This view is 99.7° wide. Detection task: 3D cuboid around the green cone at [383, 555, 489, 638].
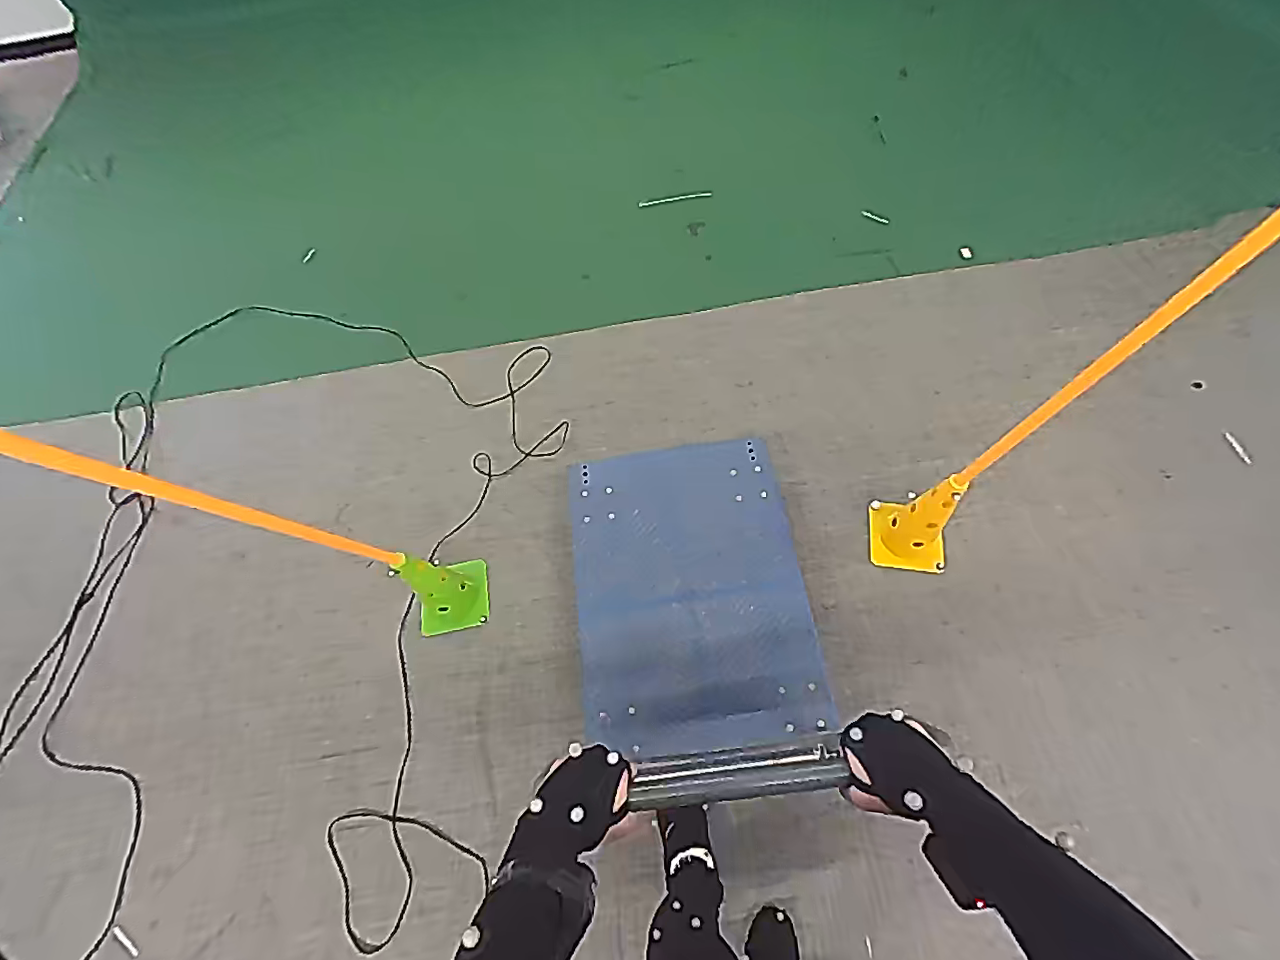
[{"bbox_3d":[-0.565,0.271,1.438,0.202,0.368,0.200,-13,62,1],"label":"green cone"}]
